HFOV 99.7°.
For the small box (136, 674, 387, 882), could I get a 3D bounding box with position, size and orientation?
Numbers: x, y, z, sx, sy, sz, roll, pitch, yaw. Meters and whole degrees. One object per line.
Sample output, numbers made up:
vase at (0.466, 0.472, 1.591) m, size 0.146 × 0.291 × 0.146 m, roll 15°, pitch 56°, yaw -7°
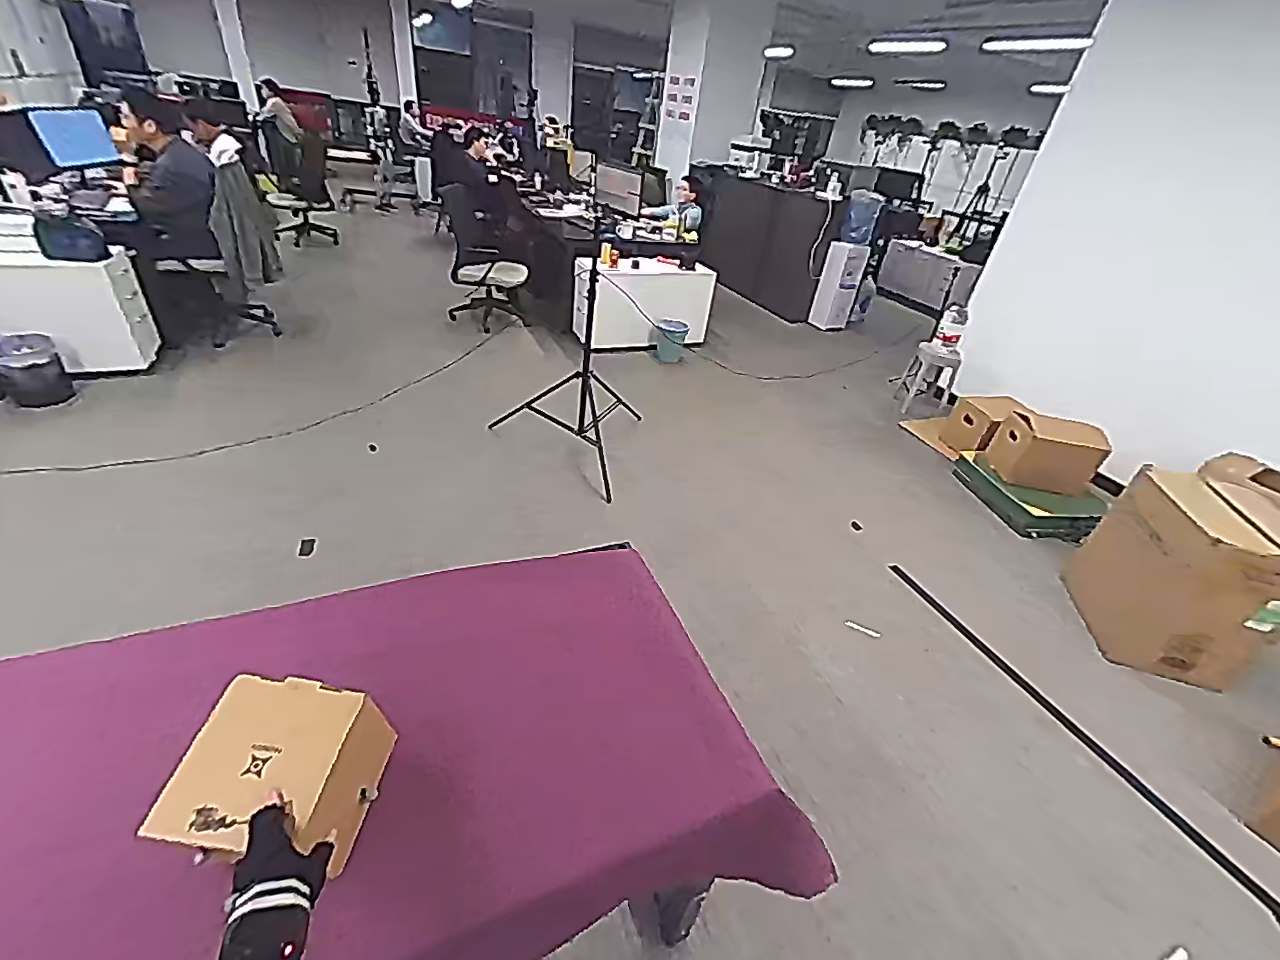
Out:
small box at (-0.437, 0.369, 0.668) m, size 0.168 × 0.176 × 0.179 m, roll 9°, pitch 47°, yaw 1°
